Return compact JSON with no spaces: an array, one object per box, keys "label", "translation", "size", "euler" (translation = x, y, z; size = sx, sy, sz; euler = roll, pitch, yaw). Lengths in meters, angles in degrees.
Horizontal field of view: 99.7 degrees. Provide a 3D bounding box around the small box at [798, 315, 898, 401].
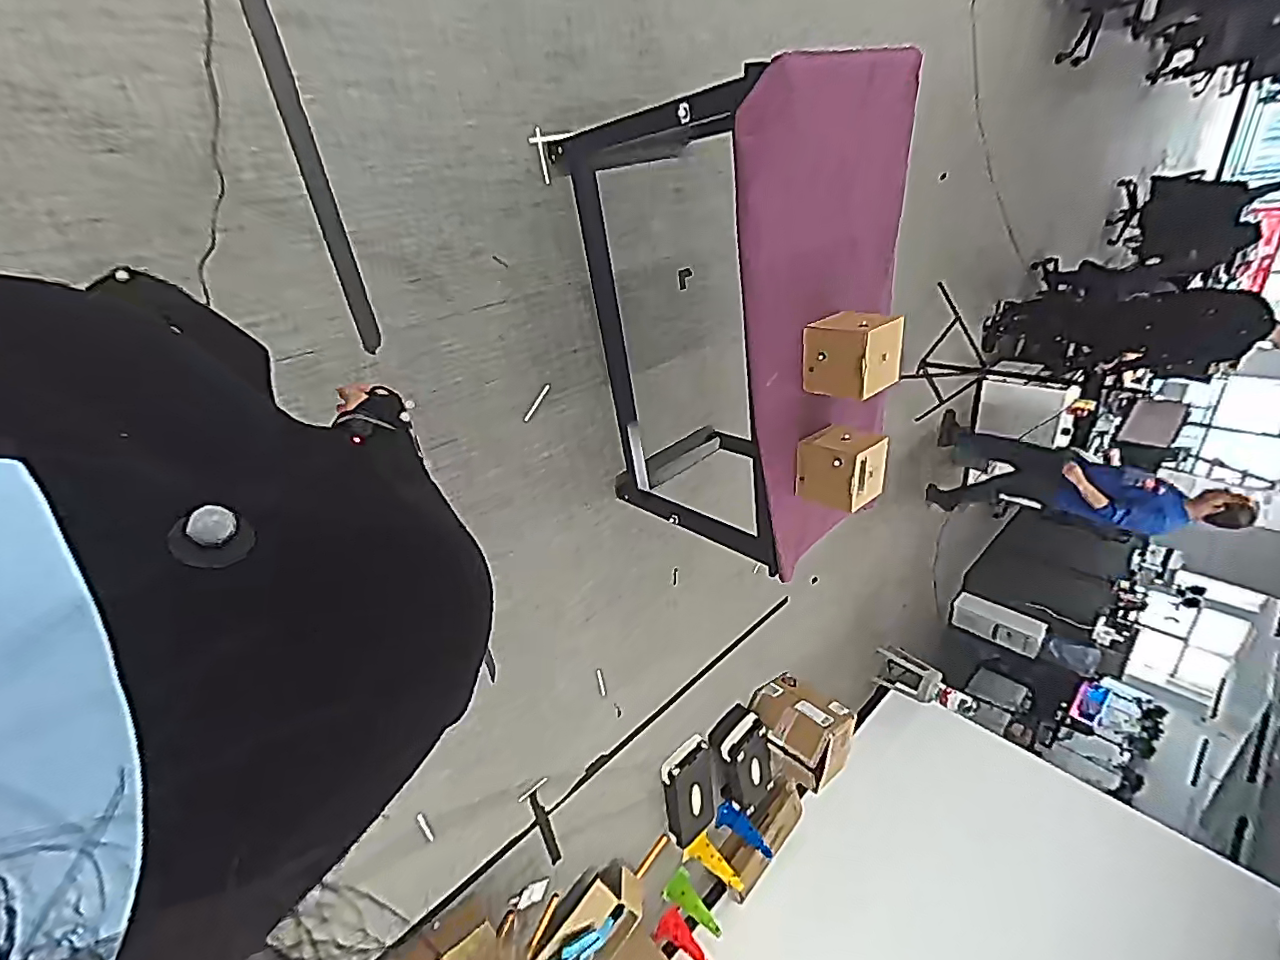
[{"label":"small box","translation":[0.518,-0.312,1.356],"size":[0.179,0.176,0.168],"euler":[-27,123,-33]}]
